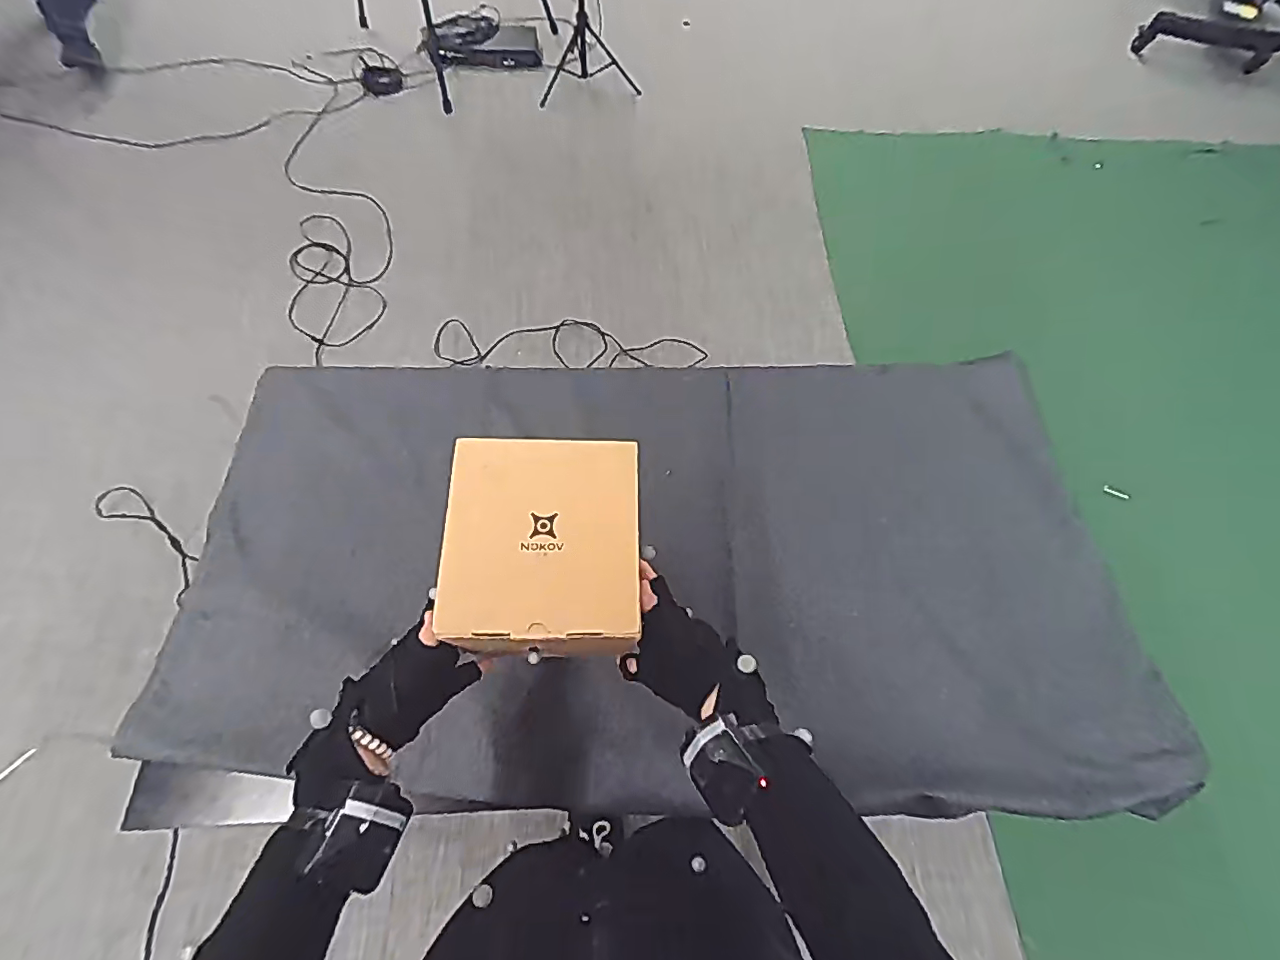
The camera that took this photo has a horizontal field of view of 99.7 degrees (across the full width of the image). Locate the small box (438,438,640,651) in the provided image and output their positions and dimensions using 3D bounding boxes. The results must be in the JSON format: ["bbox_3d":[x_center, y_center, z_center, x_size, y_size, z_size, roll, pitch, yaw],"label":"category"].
[{"bbox_3d":[-0.090,0.074,0.547,0.168,0.176,0.179,2,69,-5],"label":"small box"}]
